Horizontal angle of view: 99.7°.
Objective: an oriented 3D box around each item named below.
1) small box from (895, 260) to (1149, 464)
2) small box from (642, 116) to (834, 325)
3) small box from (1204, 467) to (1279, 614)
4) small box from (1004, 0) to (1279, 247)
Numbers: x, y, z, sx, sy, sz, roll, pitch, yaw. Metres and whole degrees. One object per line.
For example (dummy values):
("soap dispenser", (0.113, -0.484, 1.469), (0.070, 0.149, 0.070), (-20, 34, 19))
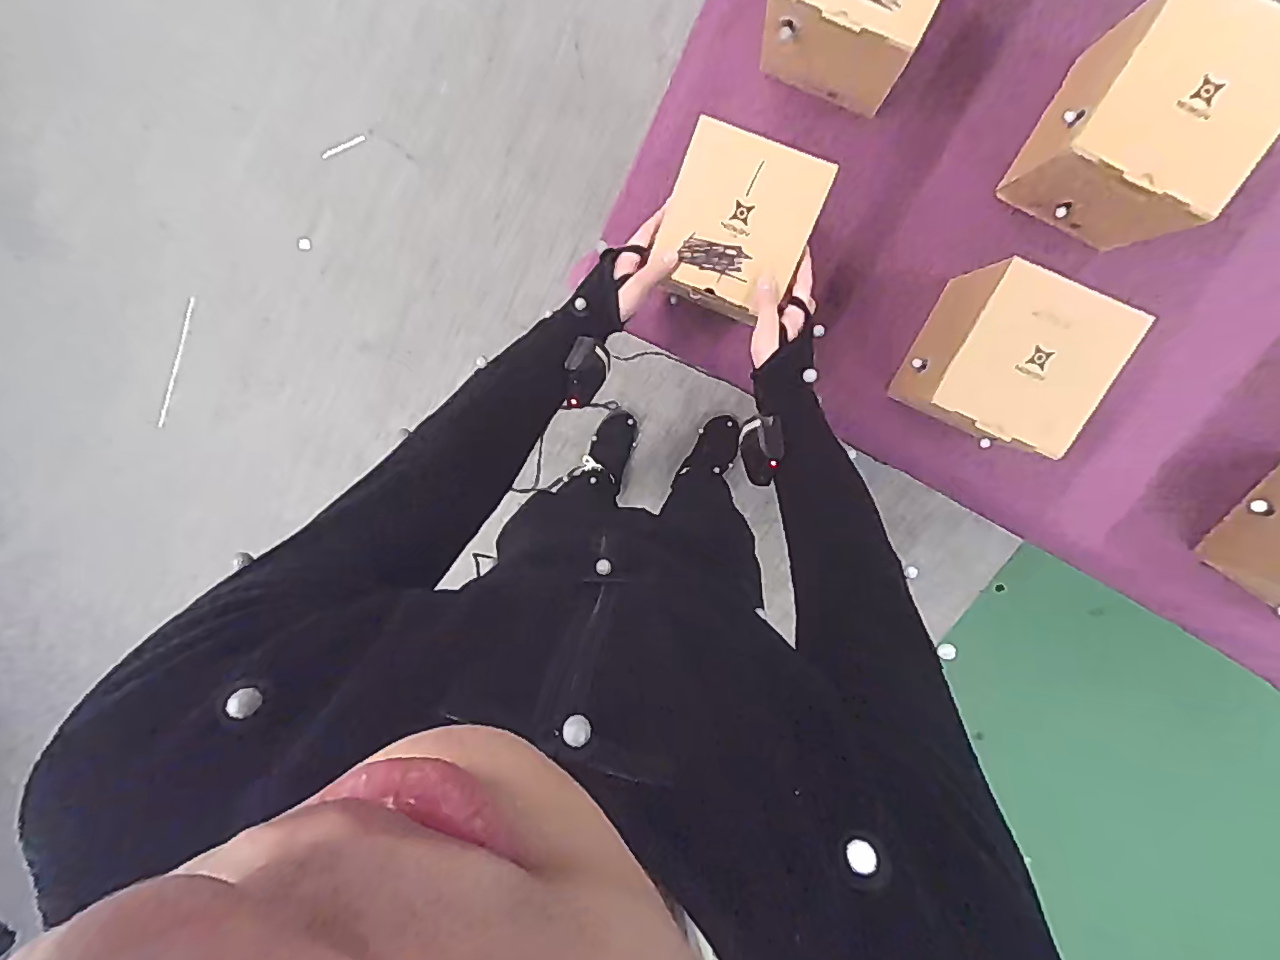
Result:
("small box", (0.448, -0.144, 0.677), (0.168, 0.176, 0.179), (26, 104, 2))
("small box", (0.119, -0.309, 0.688), (0.168, 0.176, 0.179), (23, 104, 2))
("small box", (0.875, 0.097, 0.665), (0.168, 0.176, 0.179), (34, 105, 0))
("small box", (0.561, -0.390, 0.604), (0.168, 0.176, 0.179), (28, 107, 1))
